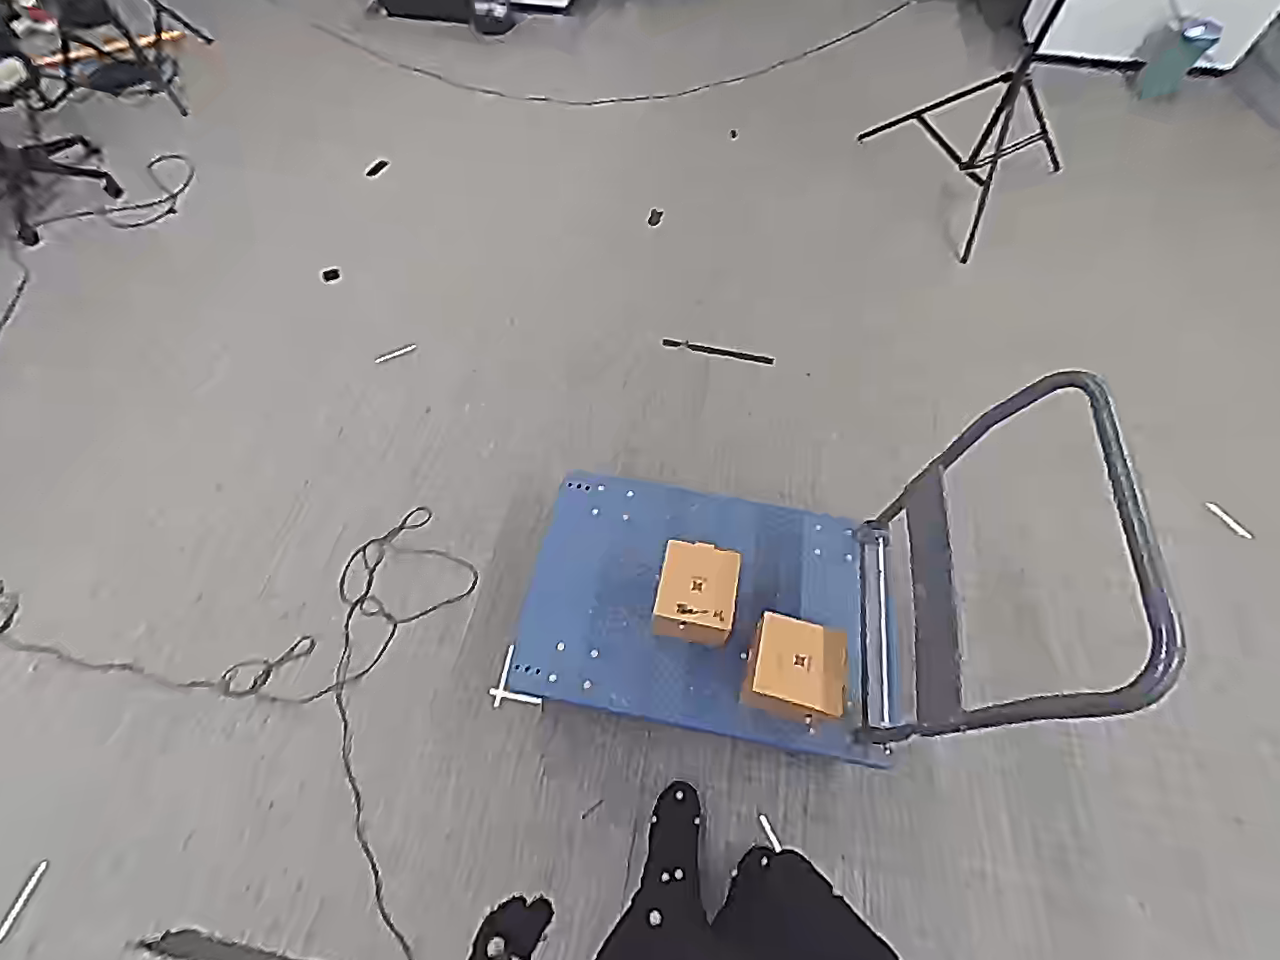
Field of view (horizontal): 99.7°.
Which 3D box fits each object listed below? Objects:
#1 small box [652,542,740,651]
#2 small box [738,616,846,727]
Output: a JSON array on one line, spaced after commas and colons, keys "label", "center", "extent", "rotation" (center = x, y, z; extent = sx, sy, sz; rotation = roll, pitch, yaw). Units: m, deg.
[{"label": "small box", "center": [0.122, 0.267, 1.228], "extent": [0.168, 0.176, 0.179], "rotation": [11, 60, 7]}, {"label": "small box", "center": [0.318, 0.412, 1.150], "extent": [0.179, 0.176, 0.168], "rotation": [14, 59, 8]}]
